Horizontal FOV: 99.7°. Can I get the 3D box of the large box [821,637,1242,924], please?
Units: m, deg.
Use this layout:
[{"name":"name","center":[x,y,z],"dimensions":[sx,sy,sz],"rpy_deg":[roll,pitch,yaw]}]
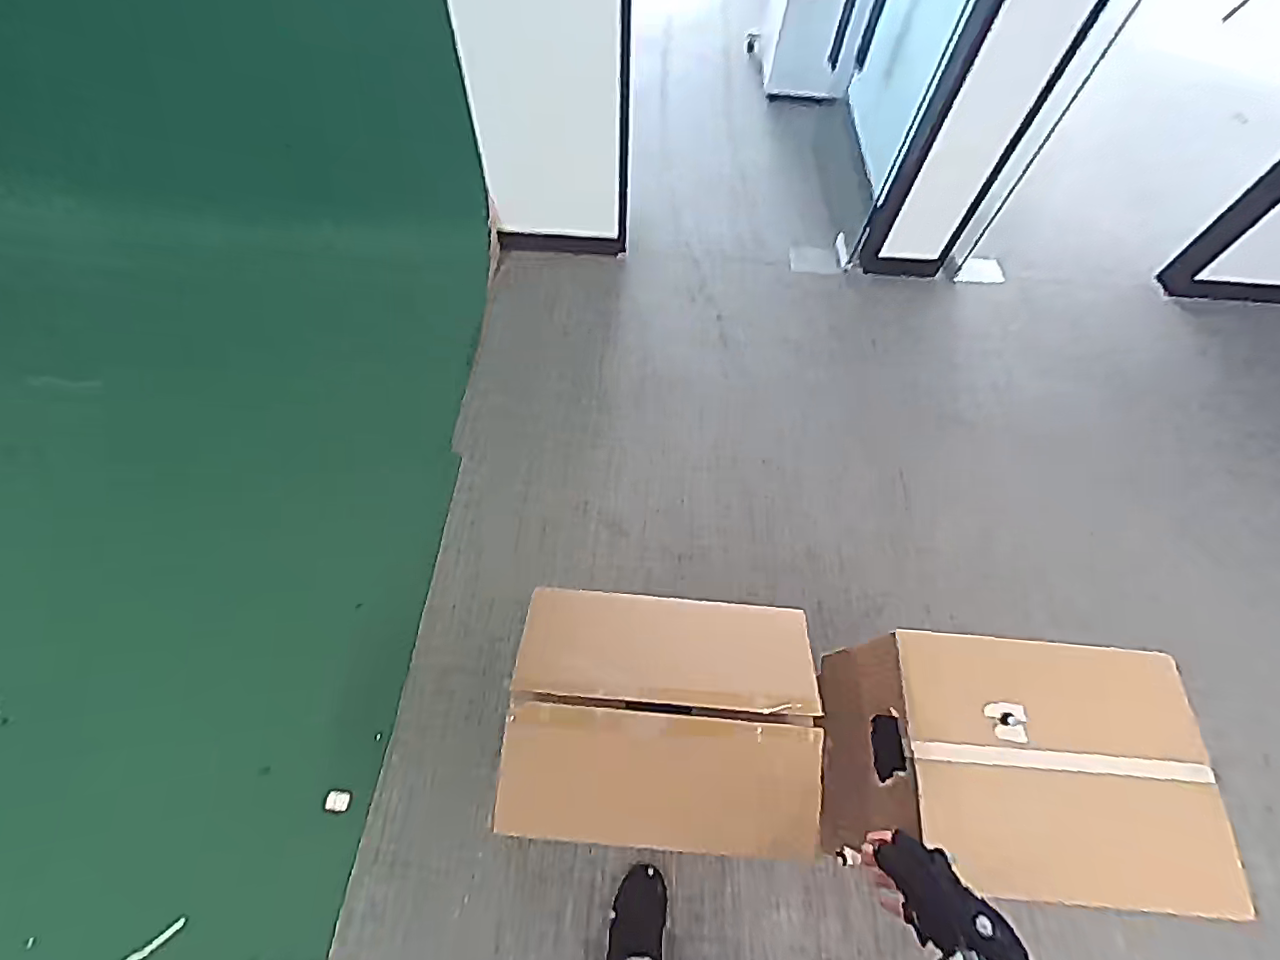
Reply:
[{"name":"large box","center":[0.537,0.438,0.845],"dimensions":[0.408,0.320,0.320],"rpy_deg":[5,65,1]}]
